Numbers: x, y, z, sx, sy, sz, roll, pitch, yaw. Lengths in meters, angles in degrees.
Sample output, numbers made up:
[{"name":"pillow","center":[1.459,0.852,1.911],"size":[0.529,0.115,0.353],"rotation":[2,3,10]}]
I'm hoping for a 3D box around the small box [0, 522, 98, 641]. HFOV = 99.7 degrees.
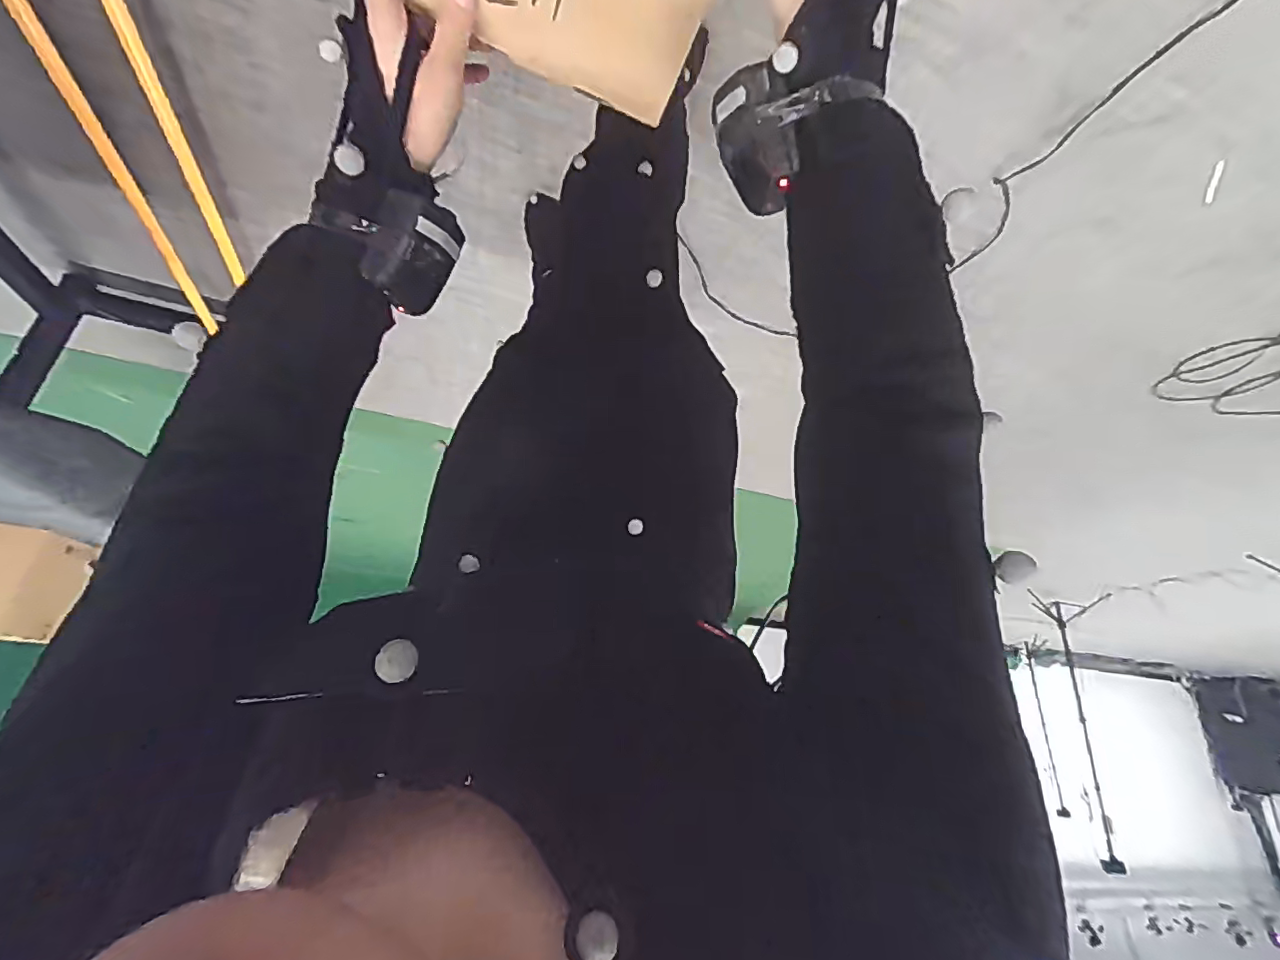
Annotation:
[{"name":"small box","center":[-1.044,0.160,0.876],"size":[0.179,0.176,0.168],"rotation":[12,157,-13]}]
